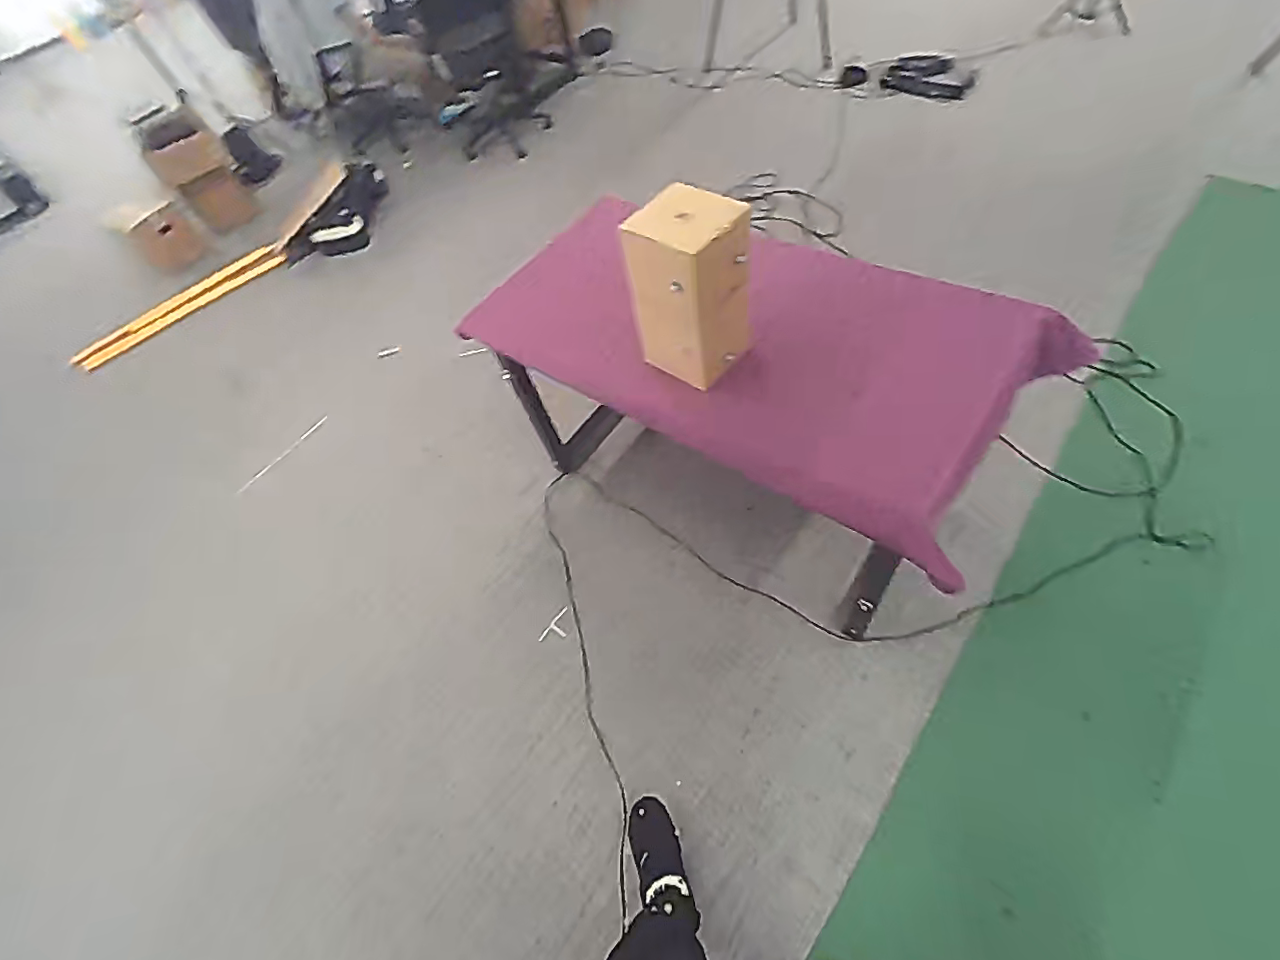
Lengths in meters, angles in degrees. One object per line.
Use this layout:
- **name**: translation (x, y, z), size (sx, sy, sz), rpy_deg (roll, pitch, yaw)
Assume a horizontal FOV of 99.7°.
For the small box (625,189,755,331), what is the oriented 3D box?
- **small box**: translation (0.101, -0.411, 1.026), size (0.179, 0.176, 0.168), rpy_deg (34, 68, 29)
